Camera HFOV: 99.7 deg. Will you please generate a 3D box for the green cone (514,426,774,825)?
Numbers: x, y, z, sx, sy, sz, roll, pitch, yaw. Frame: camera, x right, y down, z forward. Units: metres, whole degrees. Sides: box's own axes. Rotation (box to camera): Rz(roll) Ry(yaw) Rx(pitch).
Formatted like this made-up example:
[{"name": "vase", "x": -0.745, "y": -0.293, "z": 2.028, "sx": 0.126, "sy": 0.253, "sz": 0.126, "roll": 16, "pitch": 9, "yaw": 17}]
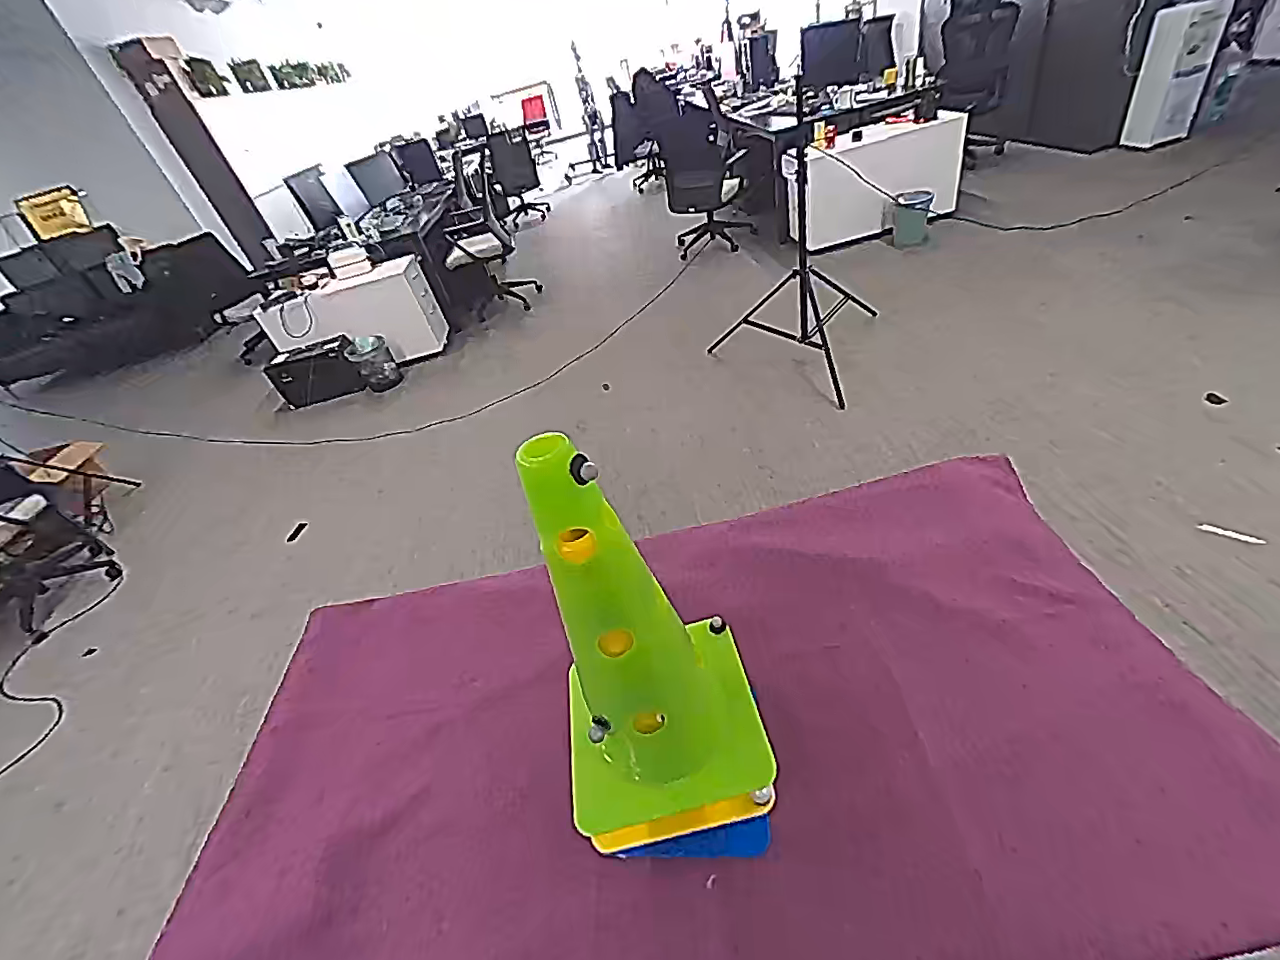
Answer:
[{"name": "green cone", "x": -0.025, "y": 0.109, "z": 0.474, "sx": 0.200, "sy": 0.368, "sz": 0.202, "roll": -18, "pitch": 37, "yaw": 2}]
